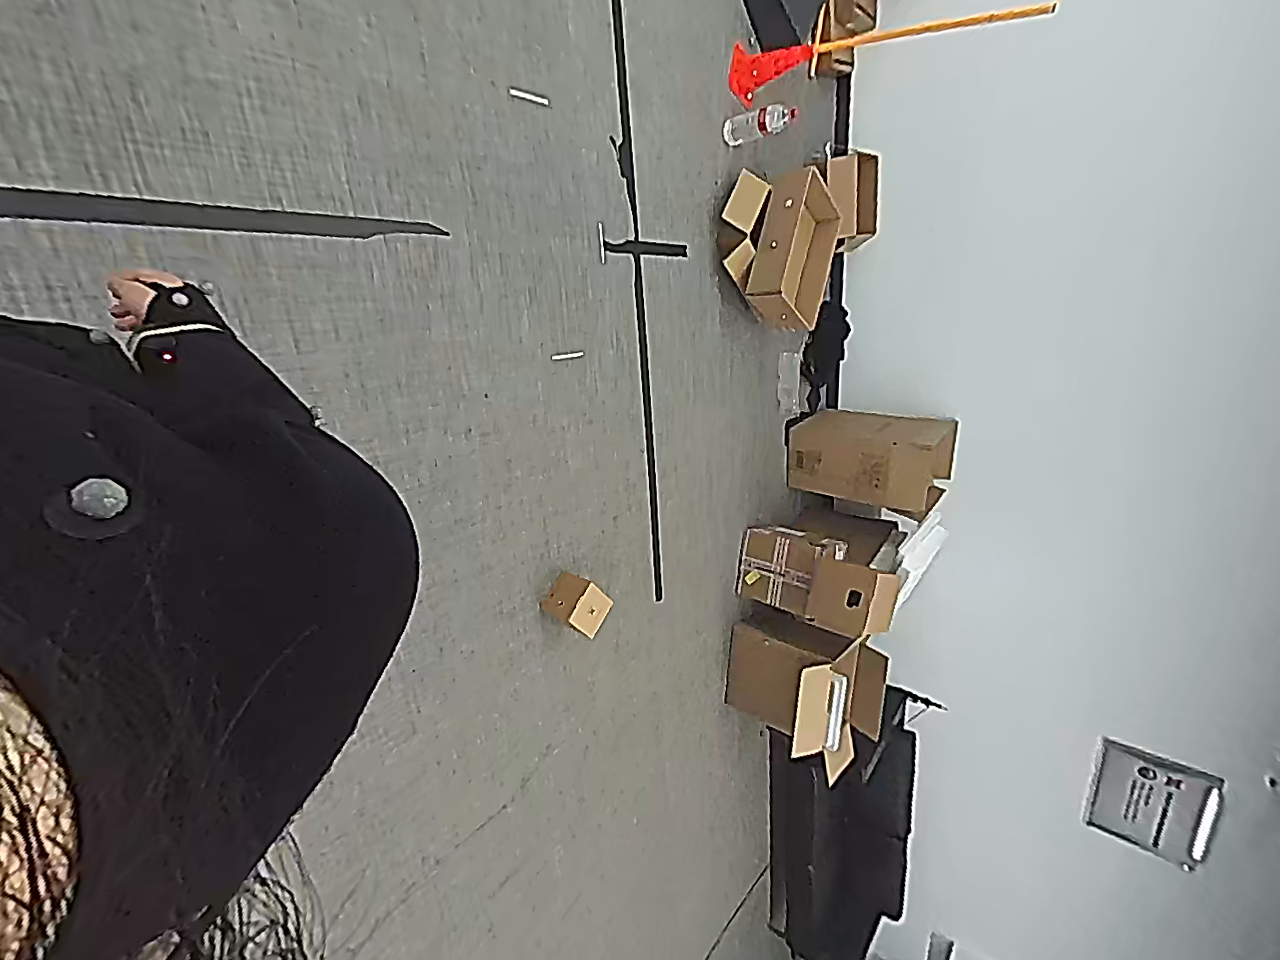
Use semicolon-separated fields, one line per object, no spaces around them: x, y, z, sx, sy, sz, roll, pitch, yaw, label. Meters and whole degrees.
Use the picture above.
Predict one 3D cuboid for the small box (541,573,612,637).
-0.248;0.478;2.090;0.168;0.176;0.179;-58;137;-21;small box
